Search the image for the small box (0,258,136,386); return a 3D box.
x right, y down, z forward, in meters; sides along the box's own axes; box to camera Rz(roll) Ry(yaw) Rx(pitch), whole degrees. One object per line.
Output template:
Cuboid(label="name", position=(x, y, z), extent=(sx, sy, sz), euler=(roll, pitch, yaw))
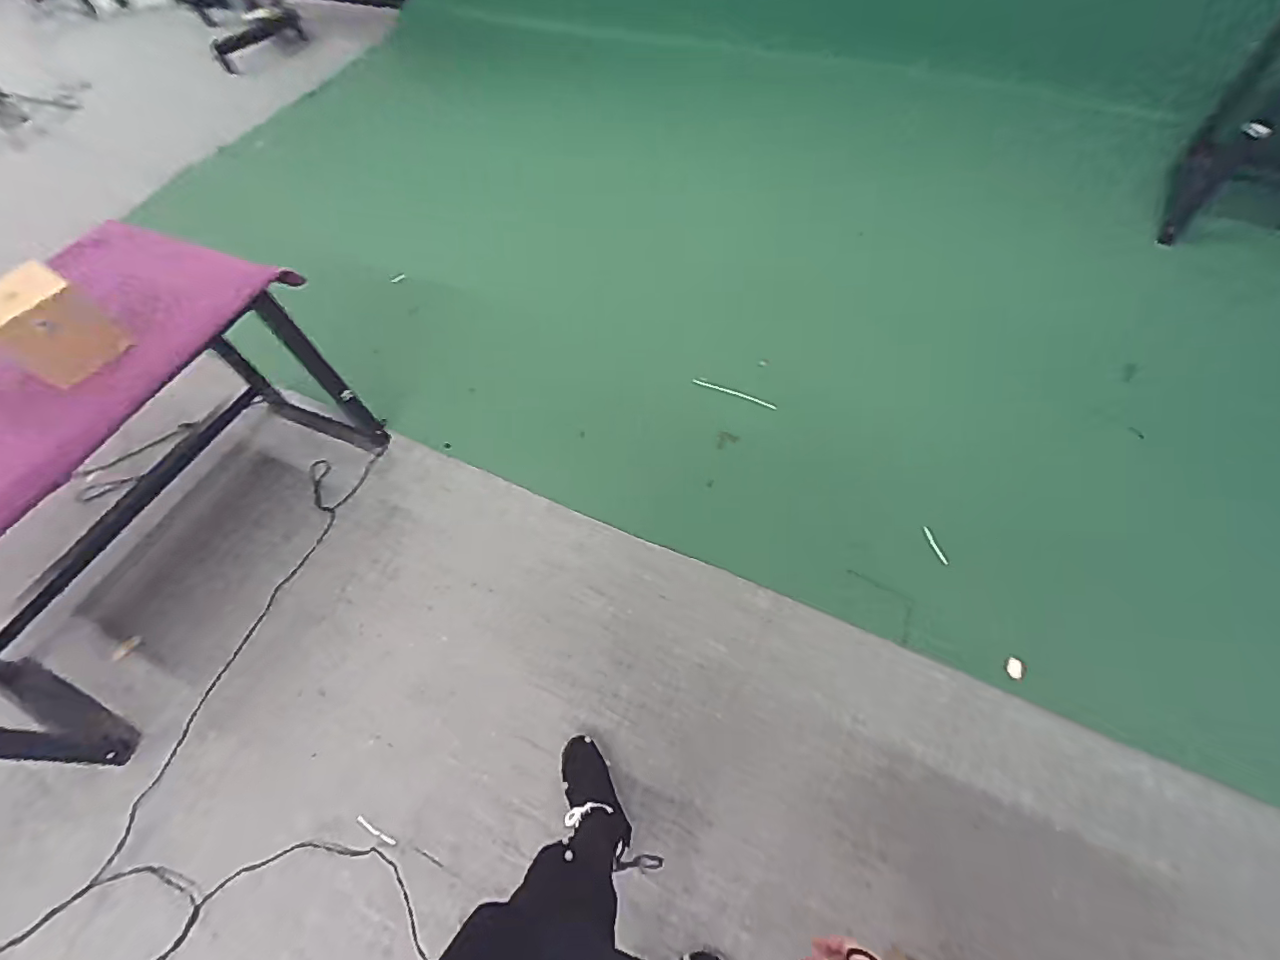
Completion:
Cuboid(label="small box", position=(-1.265, -0.335, 1.165), extent=(0.168, 0.176, 0.179), euler=(30, 66, 20))
